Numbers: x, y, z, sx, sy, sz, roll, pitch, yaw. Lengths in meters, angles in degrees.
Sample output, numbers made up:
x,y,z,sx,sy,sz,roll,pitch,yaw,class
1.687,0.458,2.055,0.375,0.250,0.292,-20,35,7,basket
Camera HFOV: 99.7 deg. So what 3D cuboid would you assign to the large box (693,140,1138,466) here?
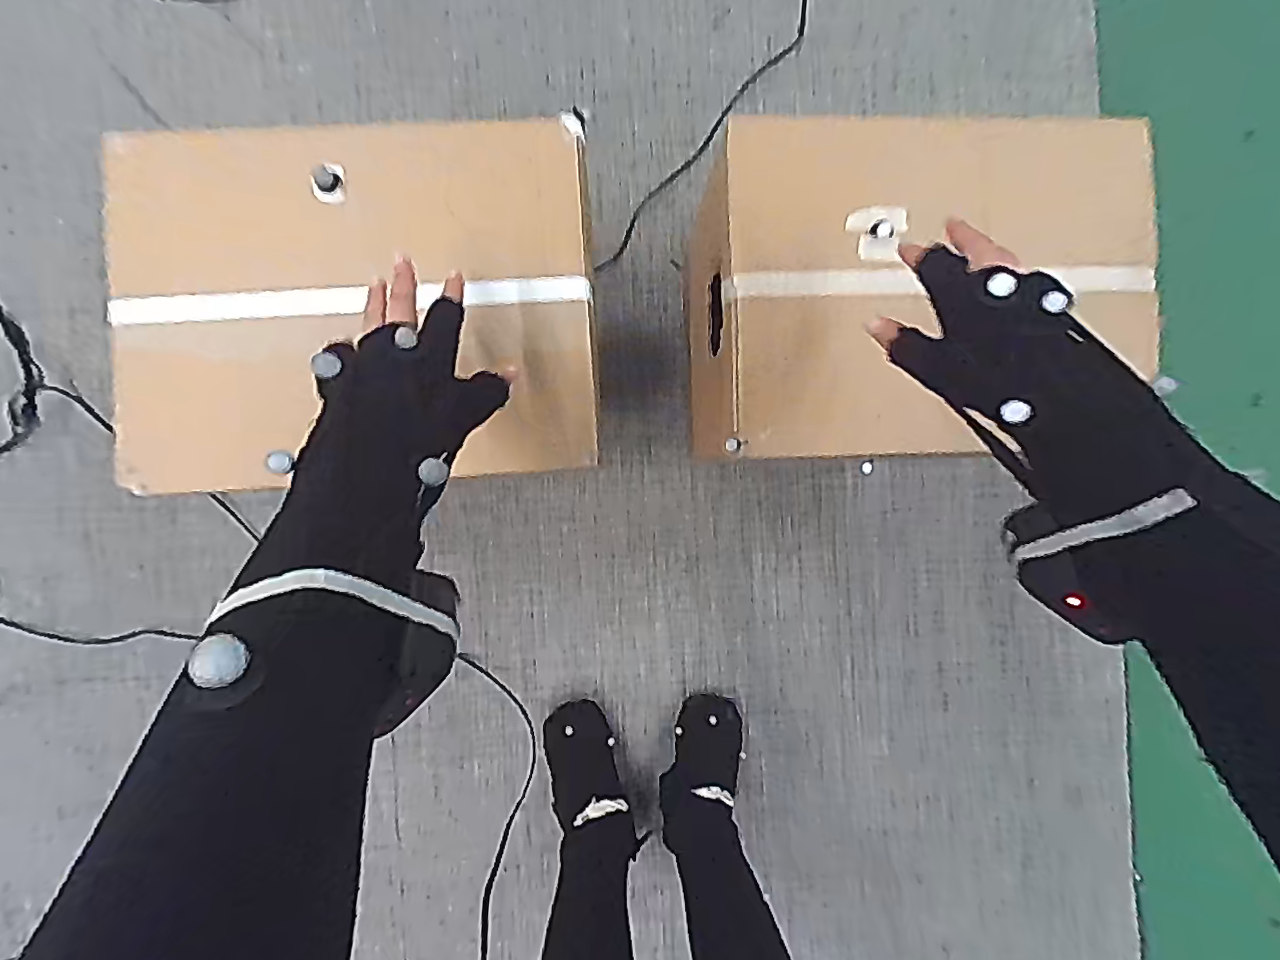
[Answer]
x,y,z,sx,sy,sz,roll,pitch,yaw,class
0.286,-0.178,0.675,0.408,0.320,0.320,-1,90,-2,large box
